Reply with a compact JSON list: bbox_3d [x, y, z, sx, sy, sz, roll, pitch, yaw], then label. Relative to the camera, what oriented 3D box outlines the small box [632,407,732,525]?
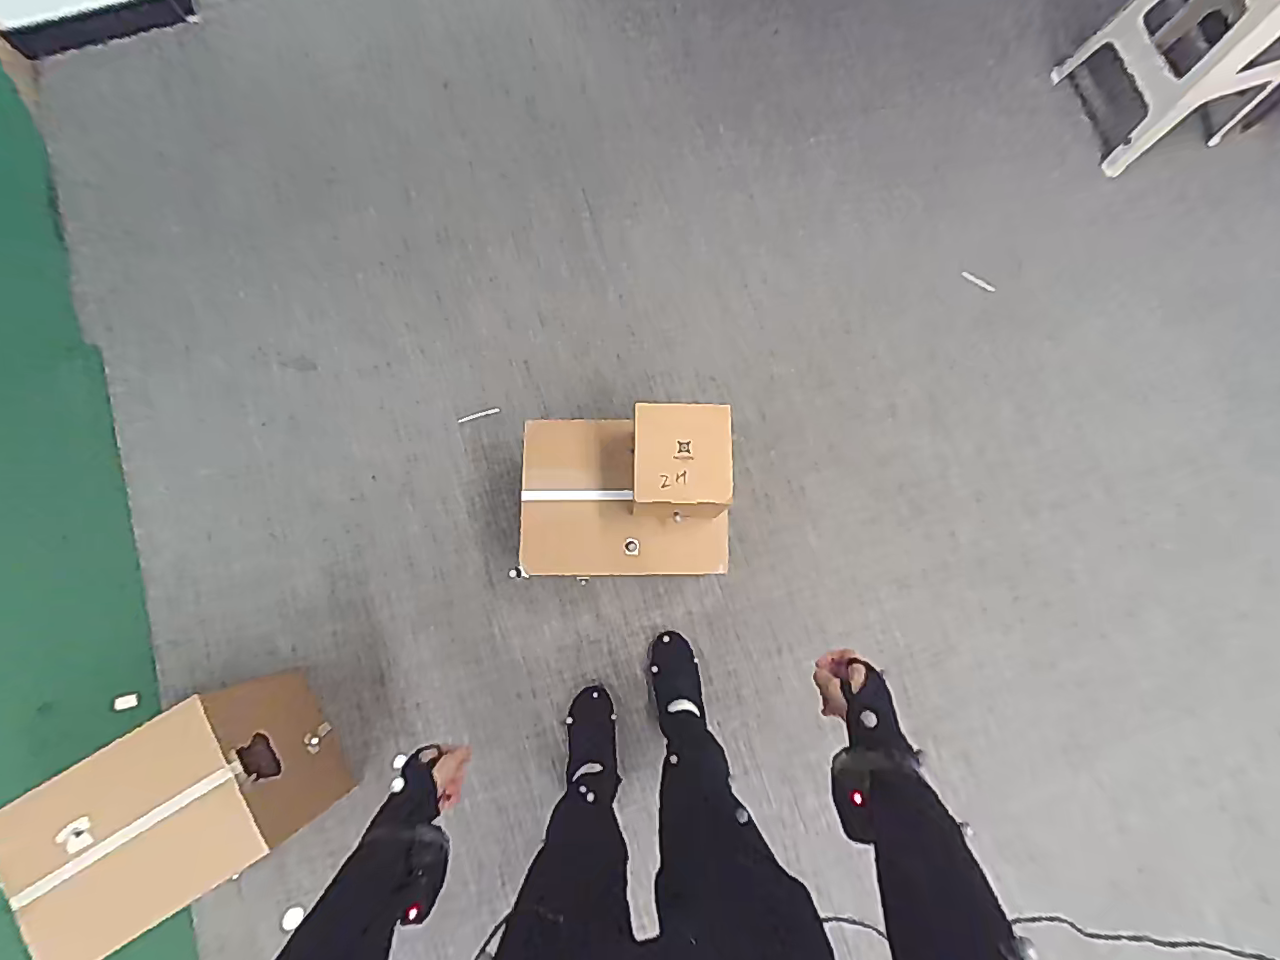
[{"bbox_3d":[0.071,-0.020,0.984,0.168,0.176,0.179,1,77,-1],"label":"small box"}]

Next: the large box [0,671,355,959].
[{"bbox_3d":[-0.883,0.645,1.078,0.408,0.320,0.320,-31,81,-6],"label":"large box"}]
